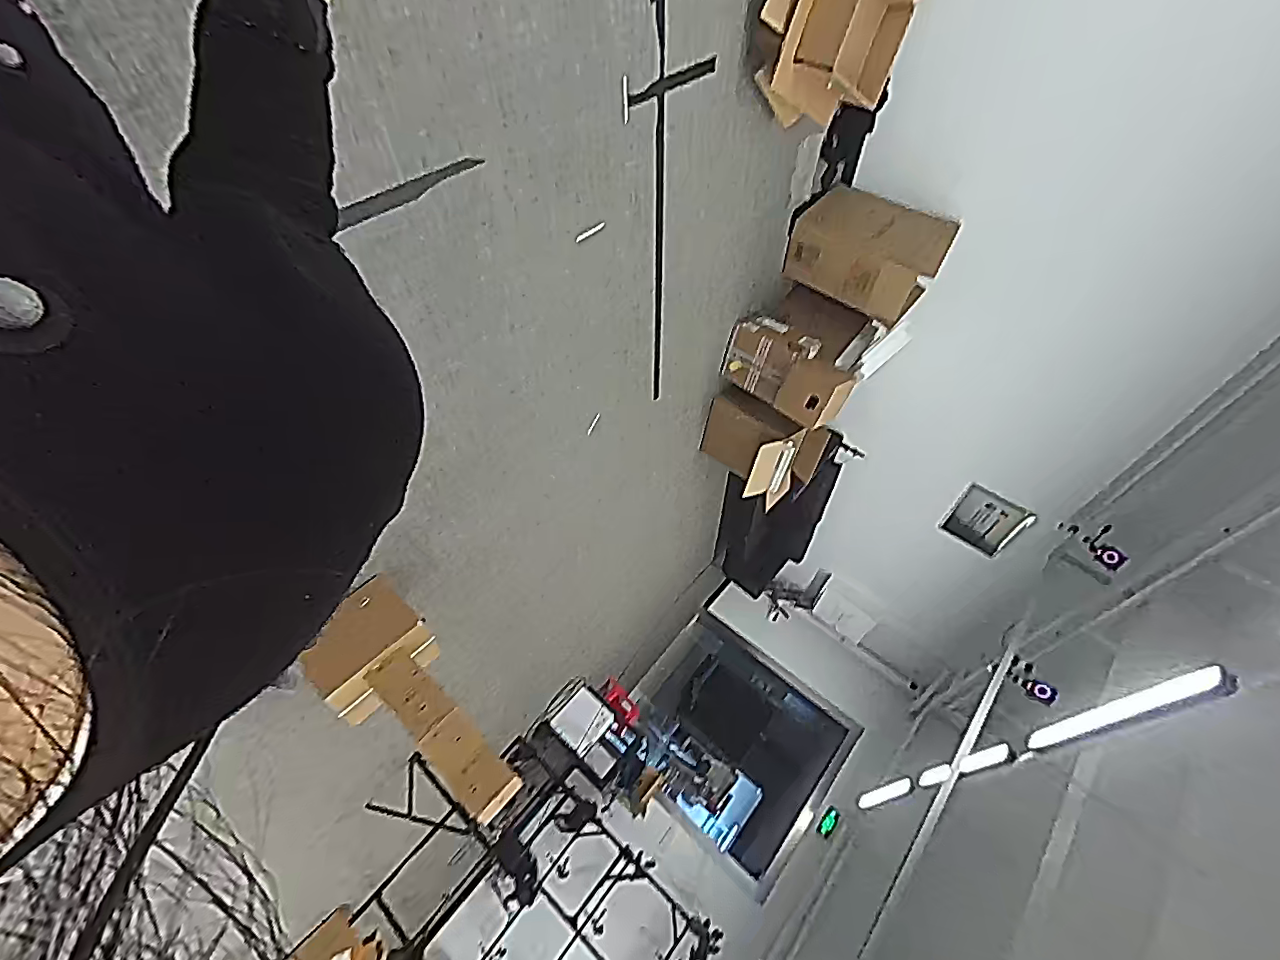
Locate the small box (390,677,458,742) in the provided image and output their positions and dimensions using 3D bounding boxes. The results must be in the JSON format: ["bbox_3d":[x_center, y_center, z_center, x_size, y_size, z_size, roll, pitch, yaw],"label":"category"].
[{"bbox_3d":[-0.782,0.854,1.978,0.168,0.176,0.179,-40,152,-31],"label":"small box"}]

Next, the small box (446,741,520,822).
[{"bbox_3d":[-0.537,1.027,1.852,0.168,0.176,0.179,-41,155,-28],"label":"small box"}]

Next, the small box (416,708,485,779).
[{"bbox_3d":[-0.660,0.939,1.911,0.168,0.176,0.179,-42,154,-29],"label":"small box"}]
